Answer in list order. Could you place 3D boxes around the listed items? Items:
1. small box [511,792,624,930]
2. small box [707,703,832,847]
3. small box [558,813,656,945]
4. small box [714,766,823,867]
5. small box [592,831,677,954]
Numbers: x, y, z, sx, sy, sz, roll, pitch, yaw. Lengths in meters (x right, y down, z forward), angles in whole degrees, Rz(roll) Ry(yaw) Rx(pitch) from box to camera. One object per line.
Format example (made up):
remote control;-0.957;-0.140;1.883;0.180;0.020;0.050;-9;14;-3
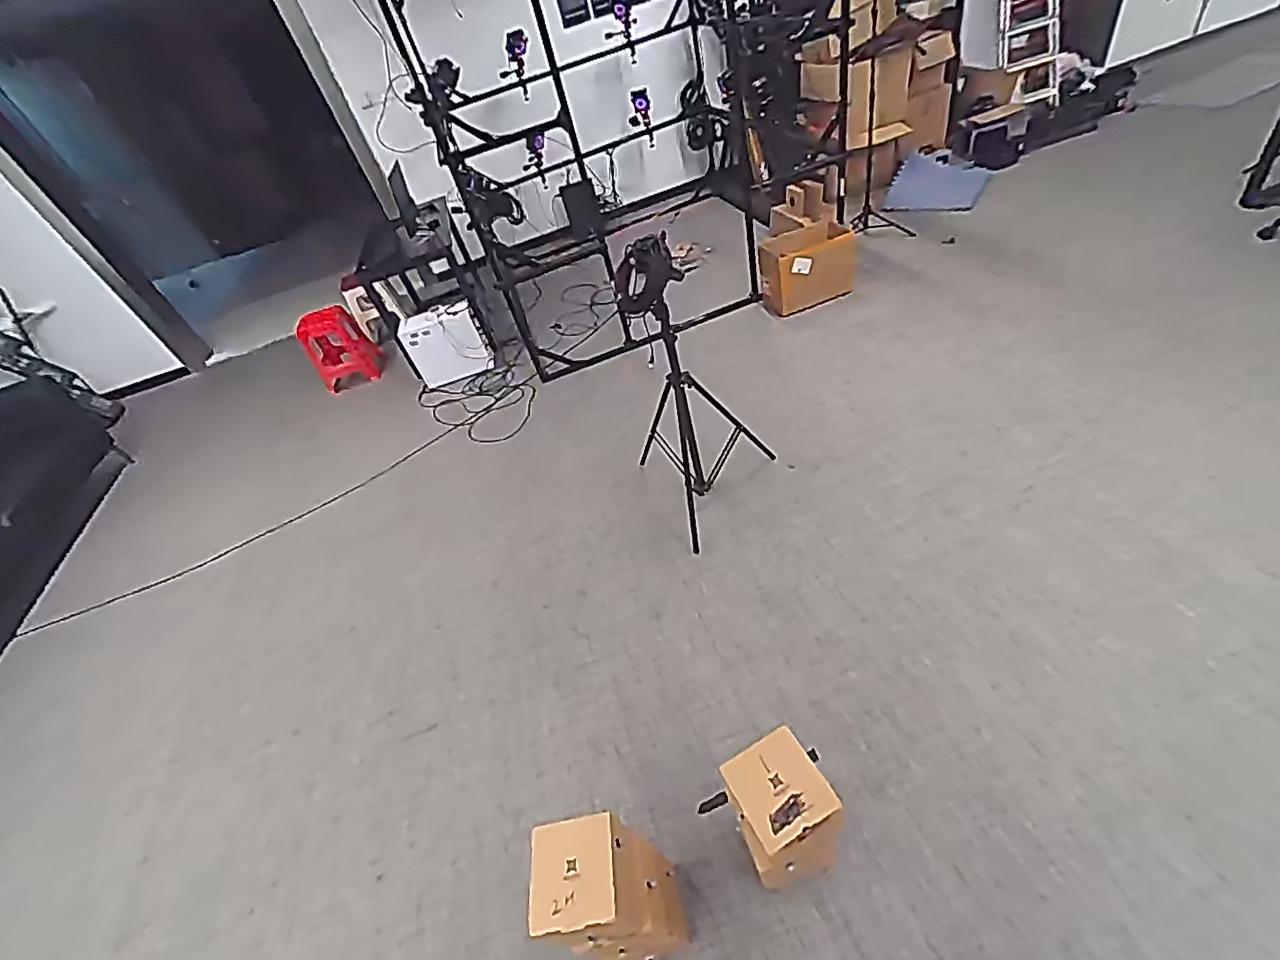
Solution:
small box;-0.134;0.733;1.041;0.168;0.176;0.179;-15;44;5
small box;0.254;0.582;1.058;0.168;0.176;0.179;-28;44;-10
small box;-0.076;0.847;1.146;0.168;0.176;0.179;-19;44;1
small box;0.278;0.698;1.174;0.168;0.176;0.179;-23;43;-5
small box;-0.028;0.957;1.253;0.168;0.176;0.179;-21;43;0
